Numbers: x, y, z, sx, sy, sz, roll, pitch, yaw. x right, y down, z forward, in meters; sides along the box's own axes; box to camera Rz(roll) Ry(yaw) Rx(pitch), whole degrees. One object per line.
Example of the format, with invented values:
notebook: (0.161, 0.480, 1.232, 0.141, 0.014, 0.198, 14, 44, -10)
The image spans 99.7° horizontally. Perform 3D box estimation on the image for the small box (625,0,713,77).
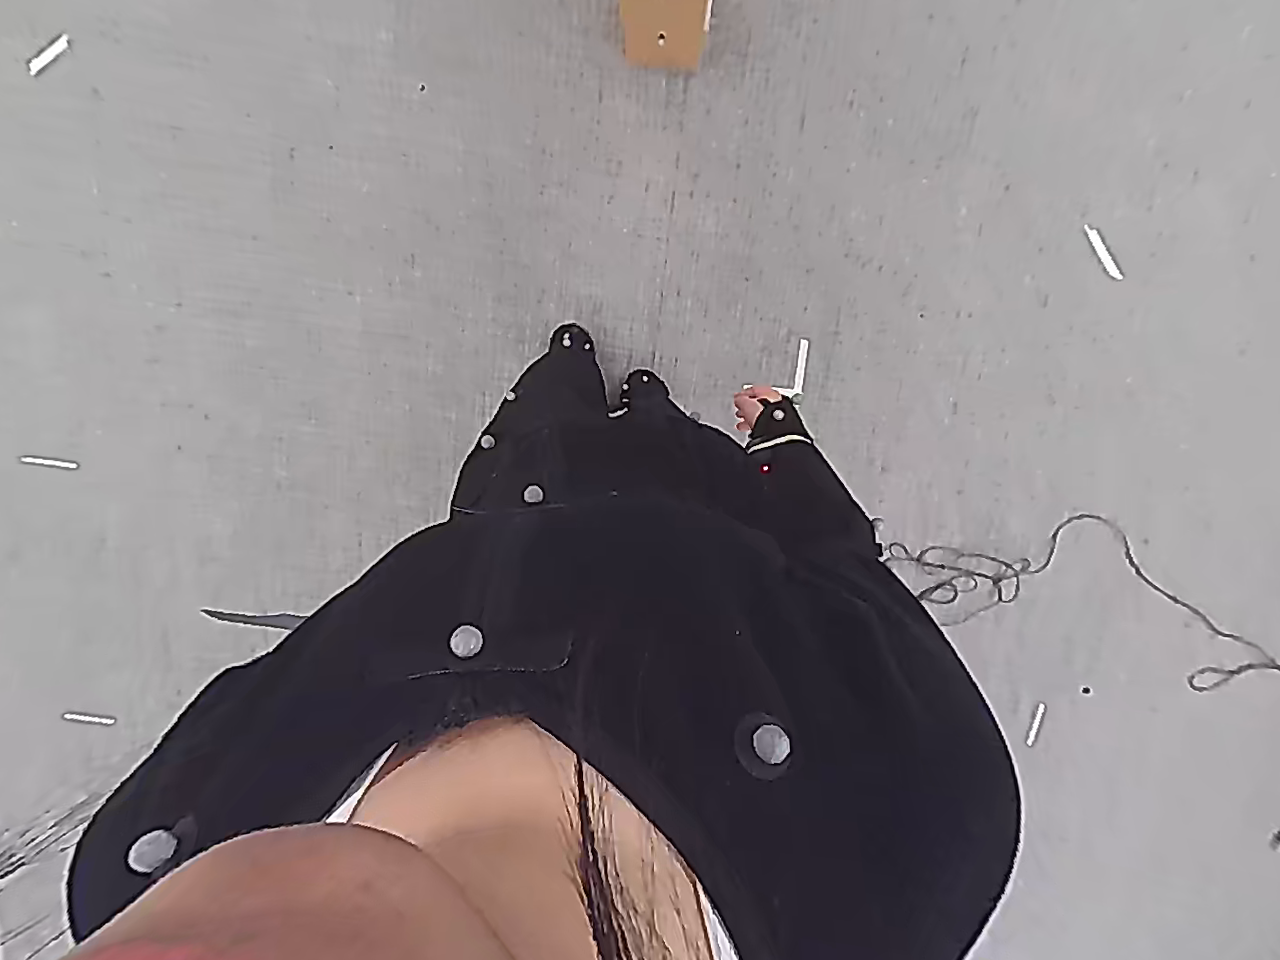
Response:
small box: (0.066, -1.025, 1.188, 0.179, 0.176, 0.168, 7, 102, 0)

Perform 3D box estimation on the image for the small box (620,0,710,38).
small box: (0.056, -0.989, 1.028, 0.179, 0.176, 0.168, 10, 103, -1)
